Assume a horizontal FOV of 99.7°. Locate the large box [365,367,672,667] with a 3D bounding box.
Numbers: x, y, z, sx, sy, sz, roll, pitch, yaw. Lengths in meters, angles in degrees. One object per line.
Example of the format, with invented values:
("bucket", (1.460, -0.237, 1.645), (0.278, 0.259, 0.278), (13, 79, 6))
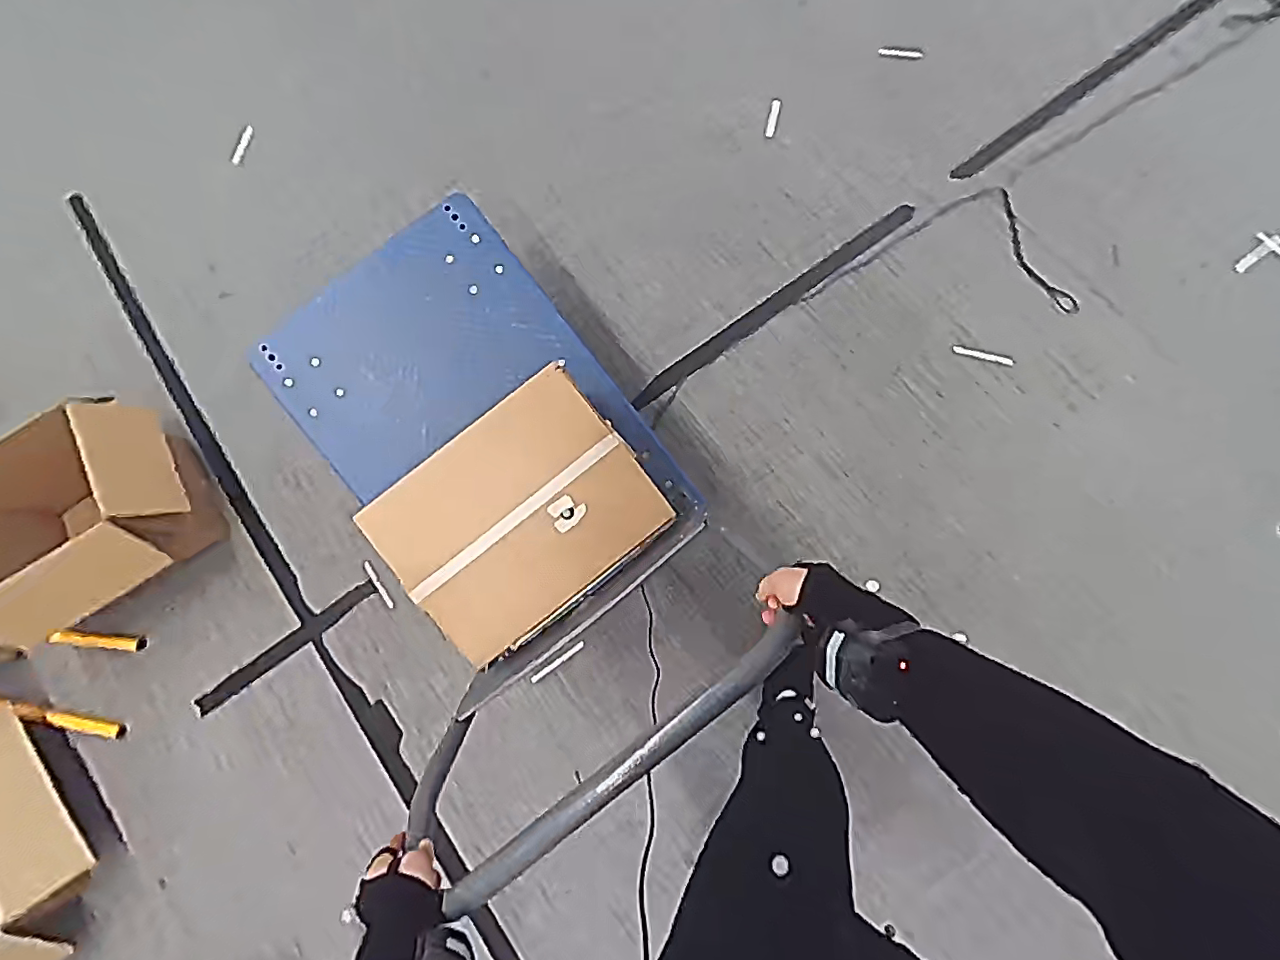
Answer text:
("large box", (-0.200, 0.060, 1.012), (0.408, 0.320, 0.320), (-39, 93, -2))
